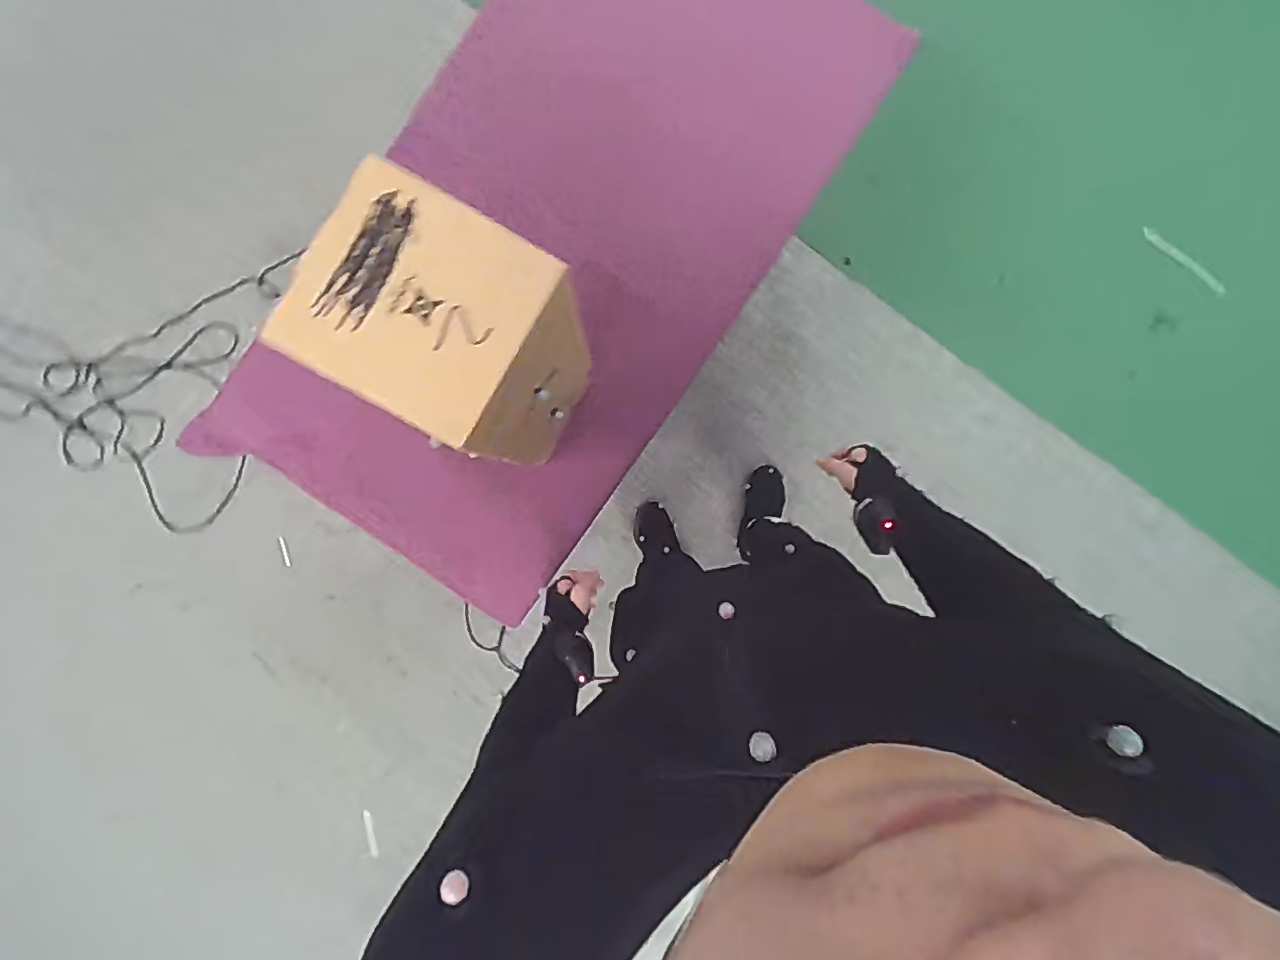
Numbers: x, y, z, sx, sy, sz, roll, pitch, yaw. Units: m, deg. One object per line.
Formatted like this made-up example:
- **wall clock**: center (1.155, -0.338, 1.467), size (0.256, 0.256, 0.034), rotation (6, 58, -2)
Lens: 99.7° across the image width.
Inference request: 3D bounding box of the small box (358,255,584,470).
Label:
- **small box**: center (-0.180, -0.123, 0.641), size (0.179, 0.176, 0.168), rotation (30, 88, -1)

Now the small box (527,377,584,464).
- **small box**: center (-0.200, -0.131, 0.807), size (0.179, 0.176, 0.168), rotation (29, 90, -1)
